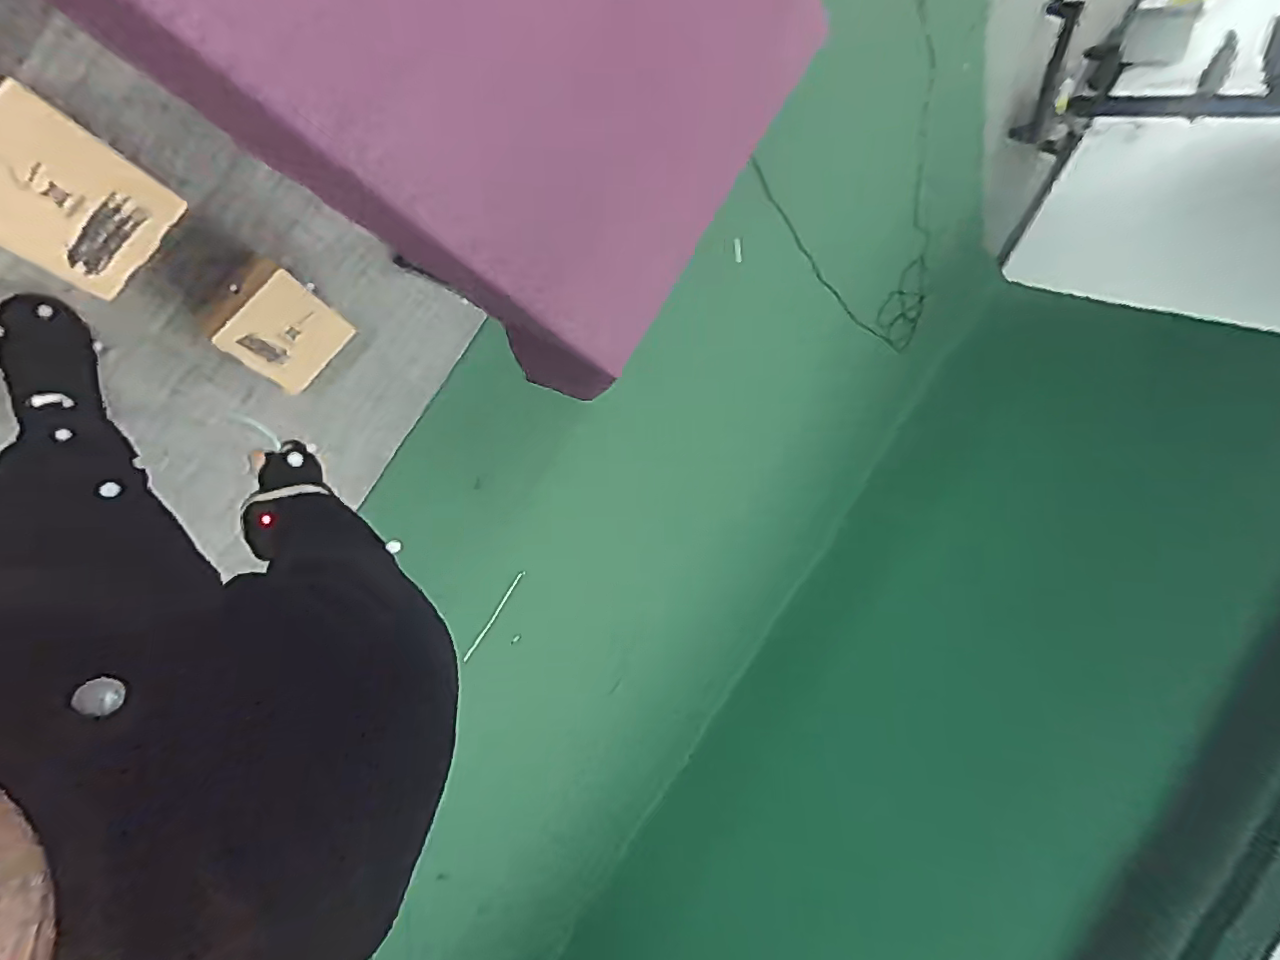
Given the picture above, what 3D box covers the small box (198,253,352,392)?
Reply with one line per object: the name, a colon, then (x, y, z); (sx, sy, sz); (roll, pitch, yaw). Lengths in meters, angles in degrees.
small box: (-0.704, -0.304, 1.040); (0.179, 0.176, 0.168); (-52, 143, -8)
